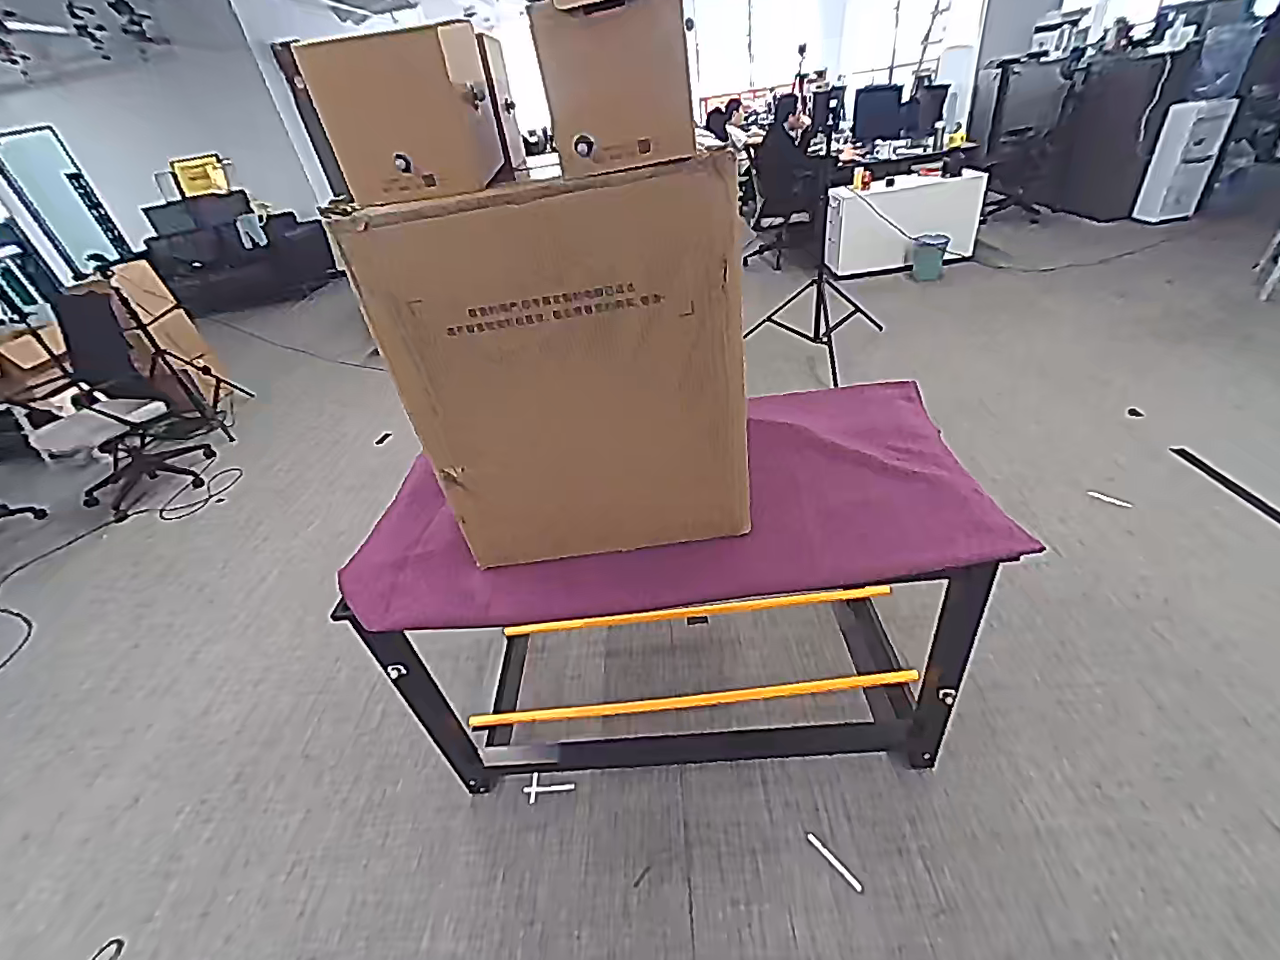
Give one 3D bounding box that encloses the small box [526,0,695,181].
[{"bbox_3d":[-0.027,-0.482,0.667,0.168,0.176,0.179,-8,37,5],"label":"small box"}]
